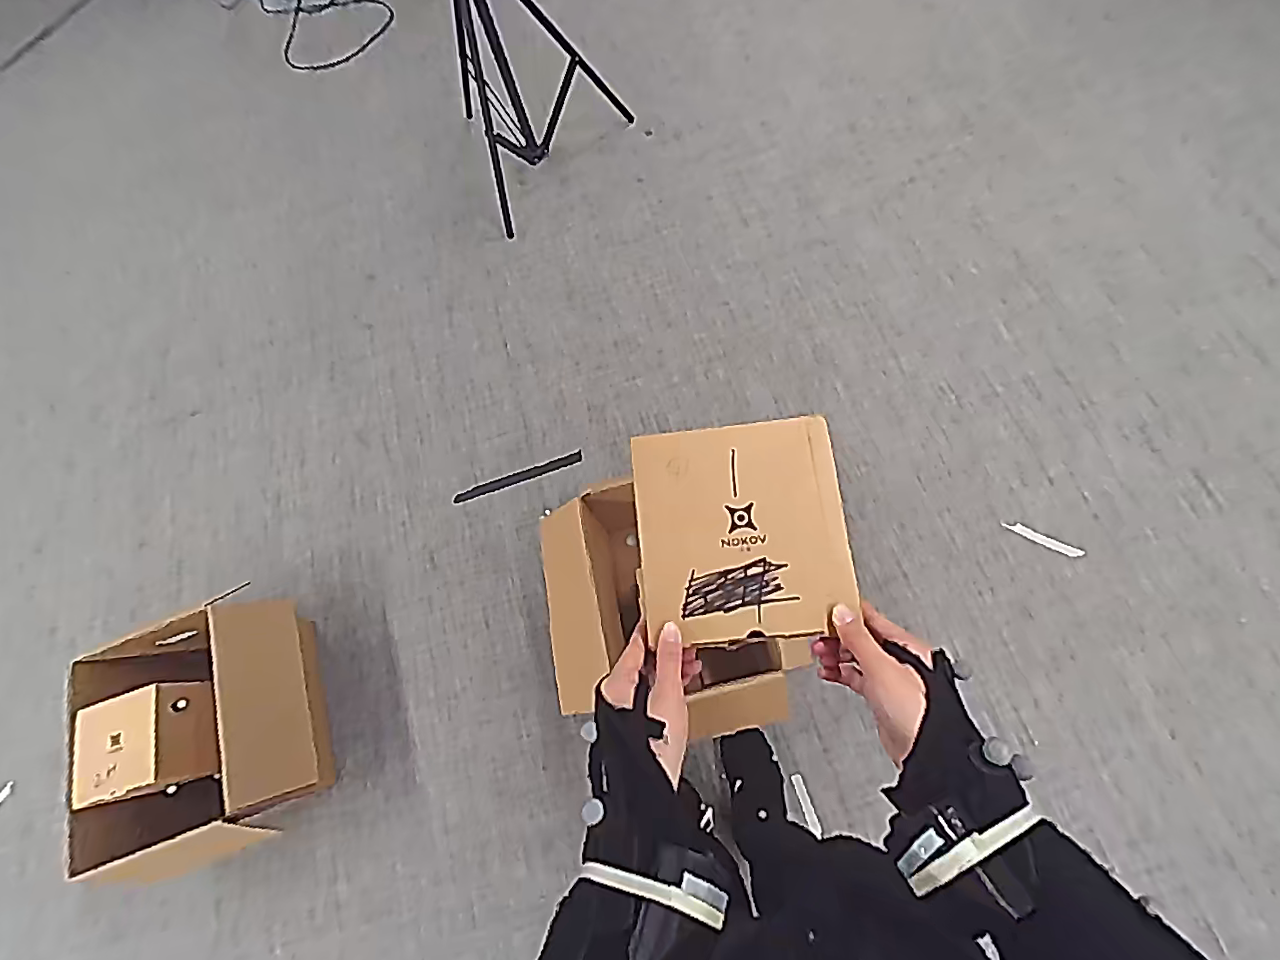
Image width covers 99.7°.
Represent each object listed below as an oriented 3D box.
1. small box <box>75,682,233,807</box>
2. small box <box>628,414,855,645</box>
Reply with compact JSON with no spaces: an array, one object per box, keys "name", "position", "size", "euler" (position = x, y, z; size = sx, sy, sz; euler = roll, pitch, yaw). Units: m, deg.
[{"name":"small box","position":[-0.950,0.512,1.073],"size":[0.168,0.176,0.179],"euler":[-20,70,2]},{"name":"small box","position":[0.083,0.054,0.512],"size":[0.168,0.176,0.179],"euler":[-6,76,2]}]
